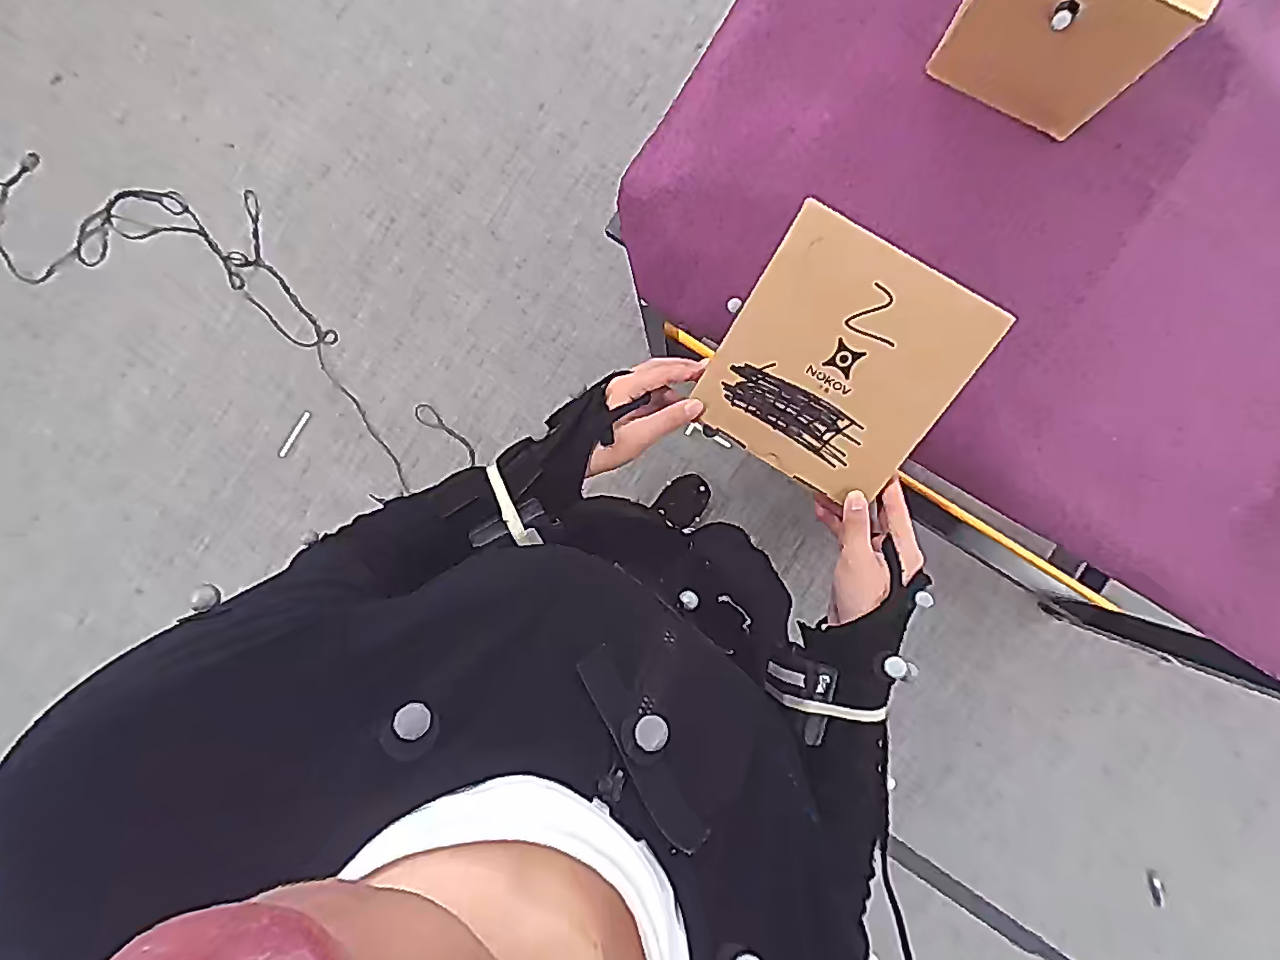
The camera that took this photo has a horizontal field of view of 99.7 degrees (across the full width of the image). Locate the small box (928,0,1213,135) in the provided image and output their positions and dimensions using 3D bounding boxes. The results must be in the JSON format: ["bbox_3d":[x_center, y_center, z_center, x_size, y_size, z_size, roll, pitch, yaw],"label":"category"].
[{"bbox_3d":[0.436,-0.490,0.536,0.179,0.176,0.168,29,92,3],"label":"small box"}]
